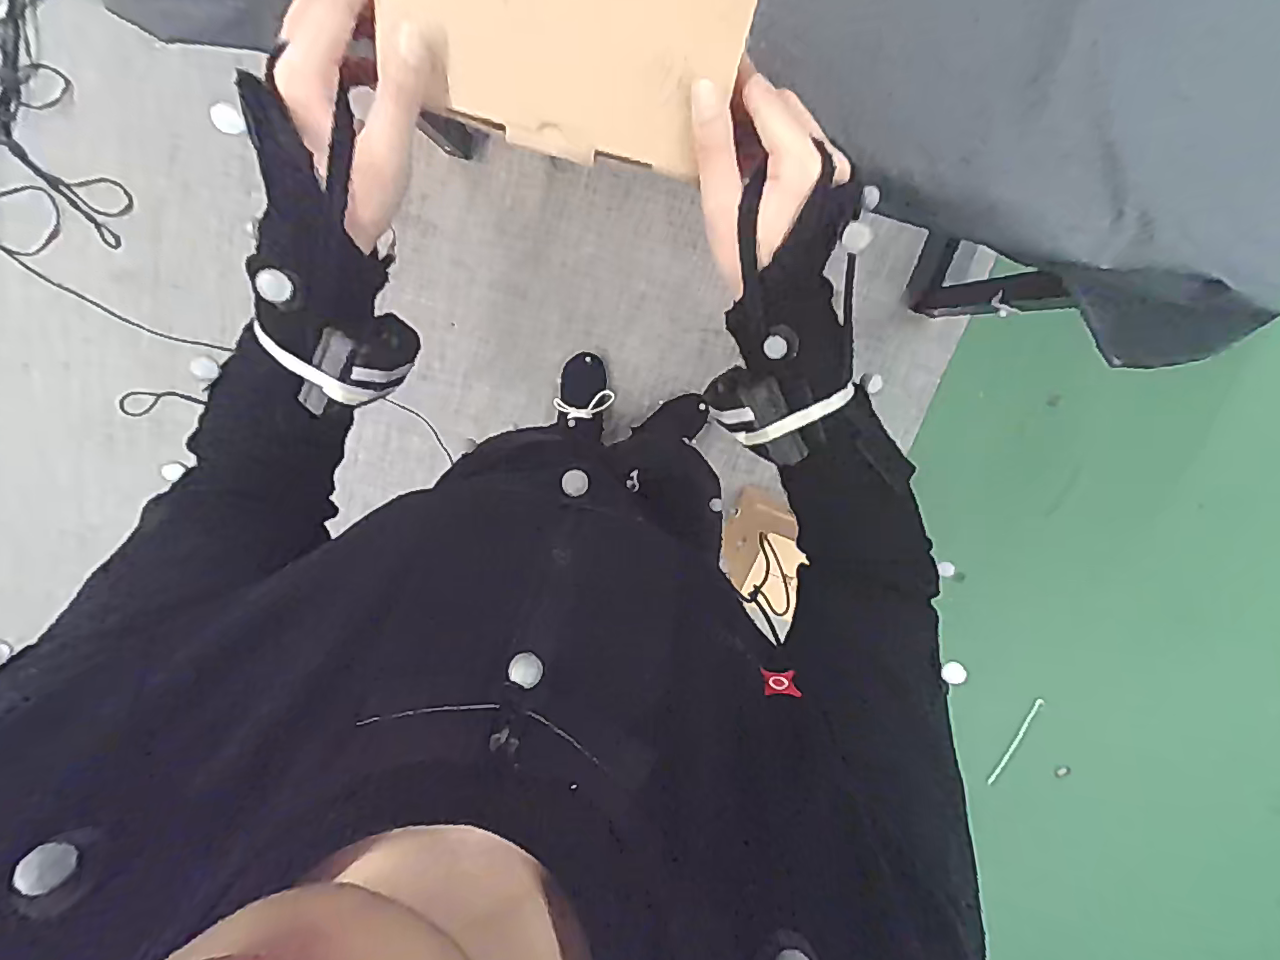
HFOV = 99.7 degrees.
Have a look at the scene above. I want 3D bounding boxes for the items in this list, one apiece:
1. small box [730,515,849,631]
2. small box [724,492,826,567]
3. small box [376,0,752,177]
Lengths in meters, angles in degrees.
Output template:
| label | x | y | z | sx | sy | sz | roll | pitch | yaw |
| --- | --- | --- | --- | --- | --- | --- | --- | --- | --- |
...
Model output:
| label | x | y | z | sx | sy | sz | roll | pitch | yaw |
| --- | --- | --- | --- | --- | --- | --- | --- | --- | --- |
| small box | 0.313 | 0.193 | 1.172 | 0.179 | 0.176 | 0.168 | 22 | 103 | -3 |
| small box | 0.322 | 0.146 | 1.330 | 0.179 | 0.176 | 0.168 | 22 | 103 | -2 |
| small box | -0.026 | -0.285 | 0.289 | 0.168 | 0.176 | 0.179 | 10 | 122 | -9 |
